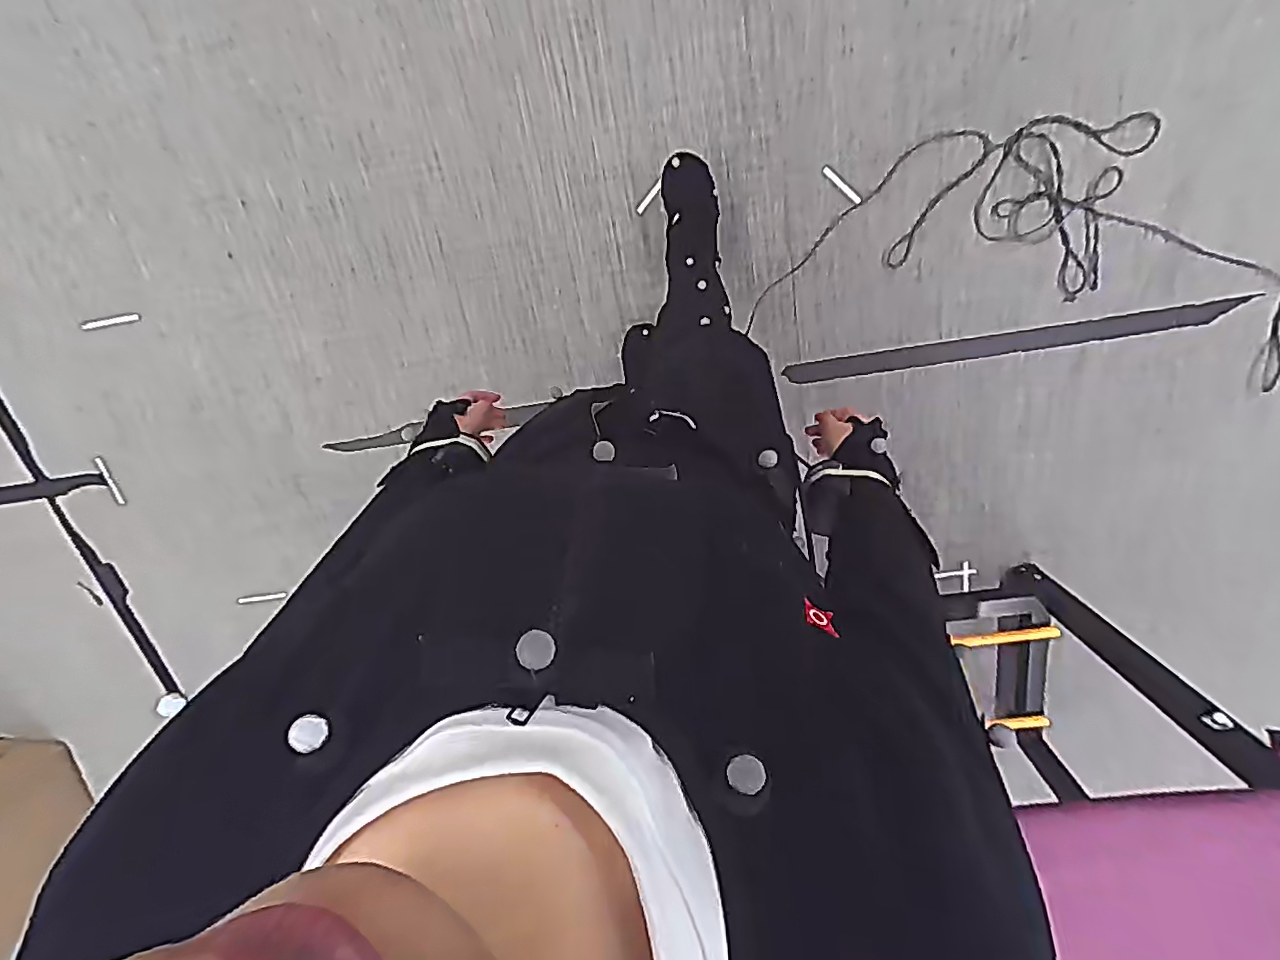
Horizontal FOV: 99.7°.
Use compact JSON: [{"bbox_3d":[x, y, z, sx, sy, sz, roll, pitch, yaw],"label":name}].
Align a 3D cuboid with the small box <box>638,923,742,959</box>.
[{"bbox_3d":[0.085,0.843,0.849,0.168,0.176,0.179,-5,111,5],"label":"small box"}]
